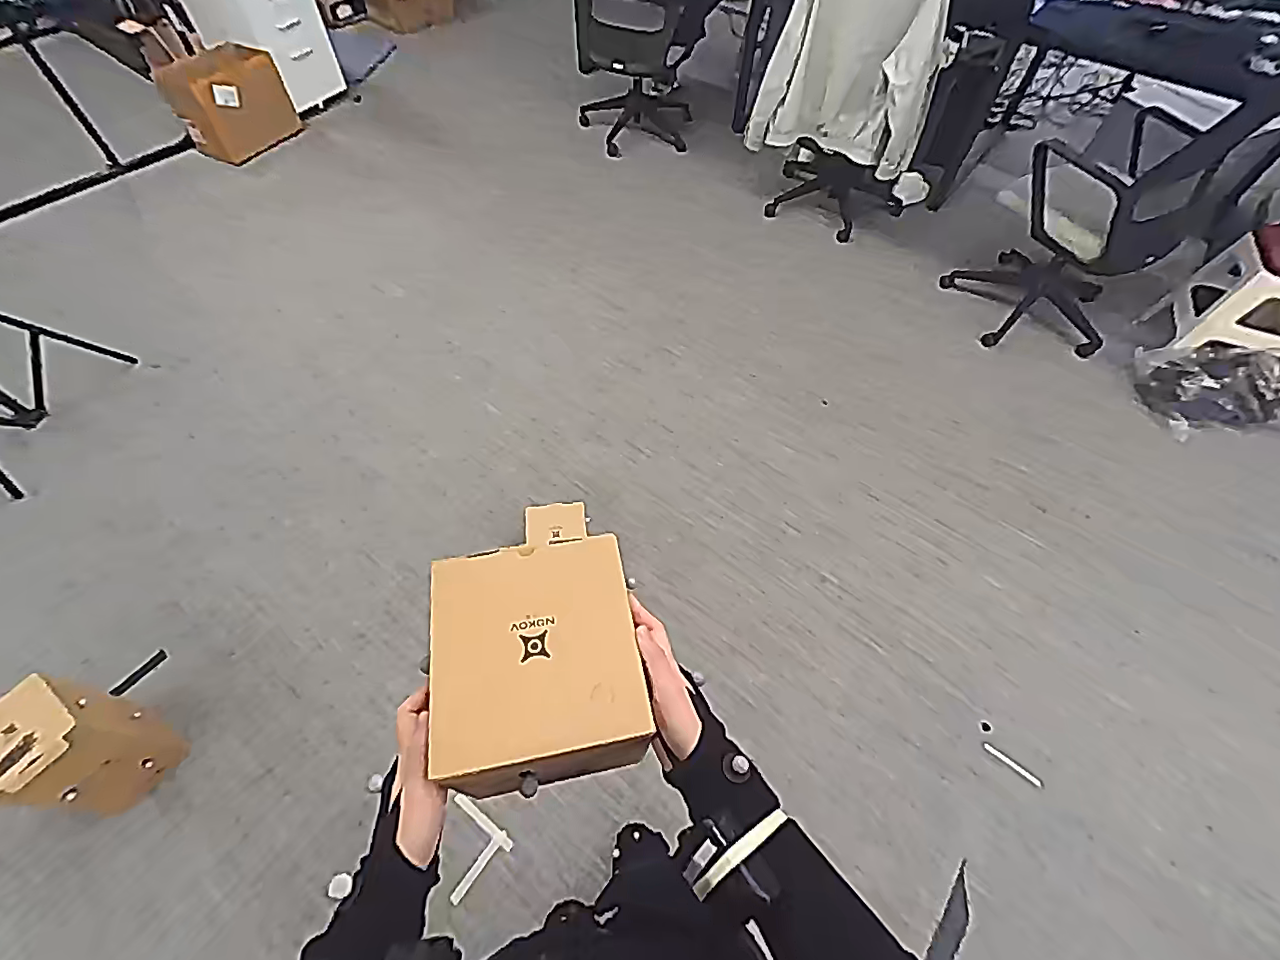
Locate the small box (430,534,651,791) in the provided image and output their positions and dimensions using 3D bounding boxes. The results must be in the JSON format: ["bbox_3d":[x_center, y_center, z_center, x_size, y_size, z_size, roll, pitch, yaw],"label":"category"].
[{"bbox_3d":[-0.087,0.176,0.505,0.168,0.176,0.179,-9,55,-9],"label":"small box"}]

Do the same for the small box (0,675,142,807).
[{"bbox_3d":[-1.184,0.531,1.096,0.179,0.176,0.168,30,61,18],"label":"small box"}]

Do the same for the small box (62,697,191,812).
[{"bbox_3d":[-1.191,0.624,1.231,0.179,0.176,0.168,29,60,18],"label":"small box"}]

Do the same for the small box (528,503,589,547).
[{"bbox_3d":[-0.227,0.187,1.539,0.168,0.176,0.179,-5,57,-6],"label":"small box"}]
